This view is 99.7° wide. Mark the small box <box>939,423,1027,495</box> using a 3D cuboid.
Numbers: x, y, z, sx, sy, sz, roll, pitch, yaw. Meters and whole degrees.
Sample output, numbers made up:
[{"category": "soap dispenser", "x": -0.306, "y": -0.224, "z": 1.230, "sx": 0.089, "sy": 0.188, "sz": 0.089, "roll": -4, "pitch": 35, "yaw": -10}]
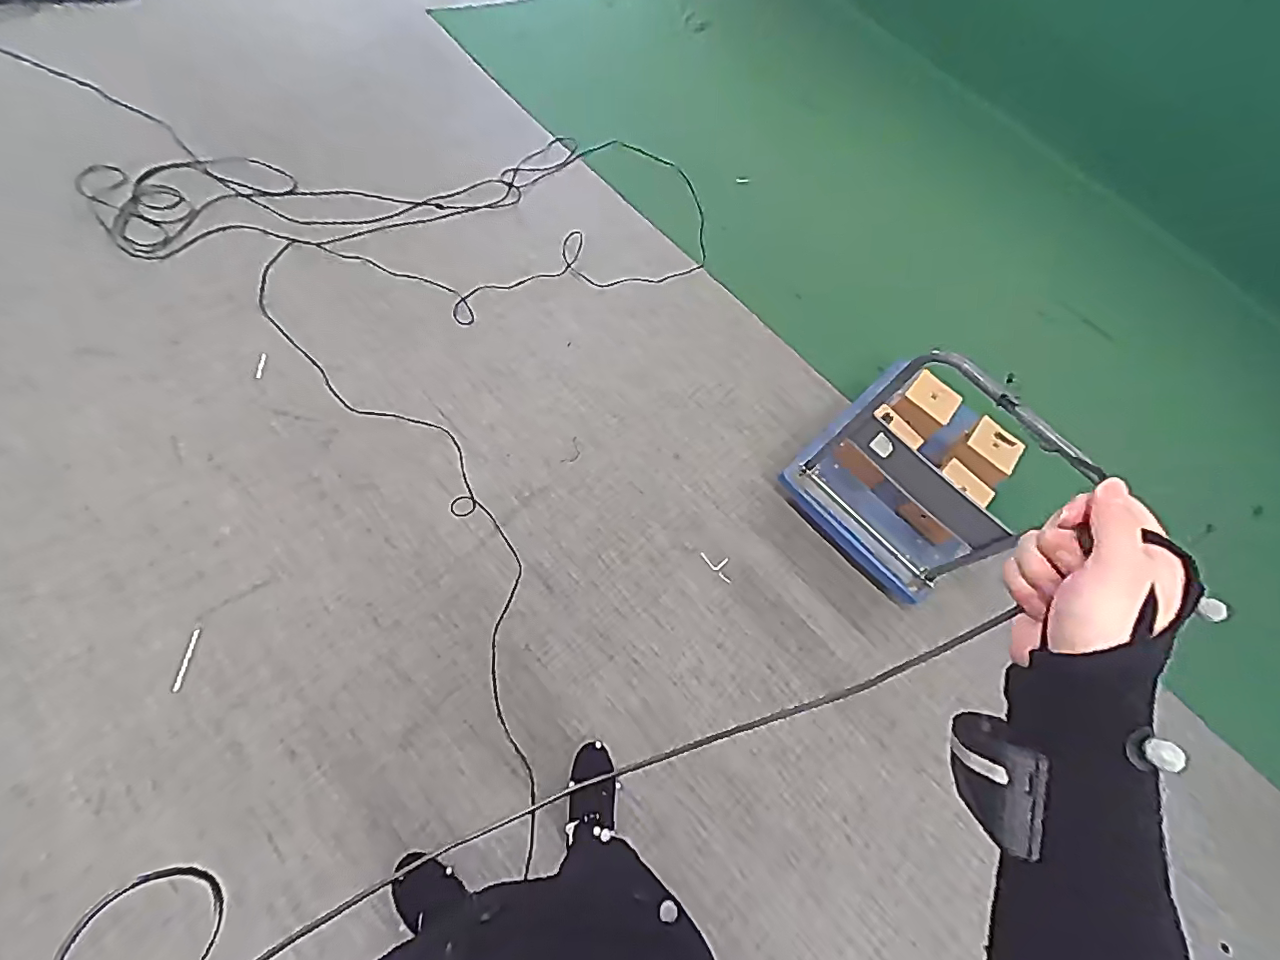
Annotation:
[{"category": "small box", "x": 1.167, "y": -0.056, "z": 1.851, "sx": 0.168, "sy": 0.176, "sz": 0.179, "roll": 41, "pitch": 61, "yaw": 11}]

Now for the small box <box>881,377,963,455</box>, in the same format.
[{"category": "small box", "x": 0.981, "y": -0.219, "z": 1.896, "sx": 0.168, "sy": 0.176, "sz": 0.179, "roll": 42, "pitch": 60, "yaw": 10}]

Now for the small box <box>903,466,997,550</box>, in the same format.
[{"category": "small box", "x": 0.980, "y": 0.092, "z": 1.724, "sx": 0.179, "sy": 0.176, "sz": 0.168, "roll": -37, "pitch": 76, "yaw": -27}]
